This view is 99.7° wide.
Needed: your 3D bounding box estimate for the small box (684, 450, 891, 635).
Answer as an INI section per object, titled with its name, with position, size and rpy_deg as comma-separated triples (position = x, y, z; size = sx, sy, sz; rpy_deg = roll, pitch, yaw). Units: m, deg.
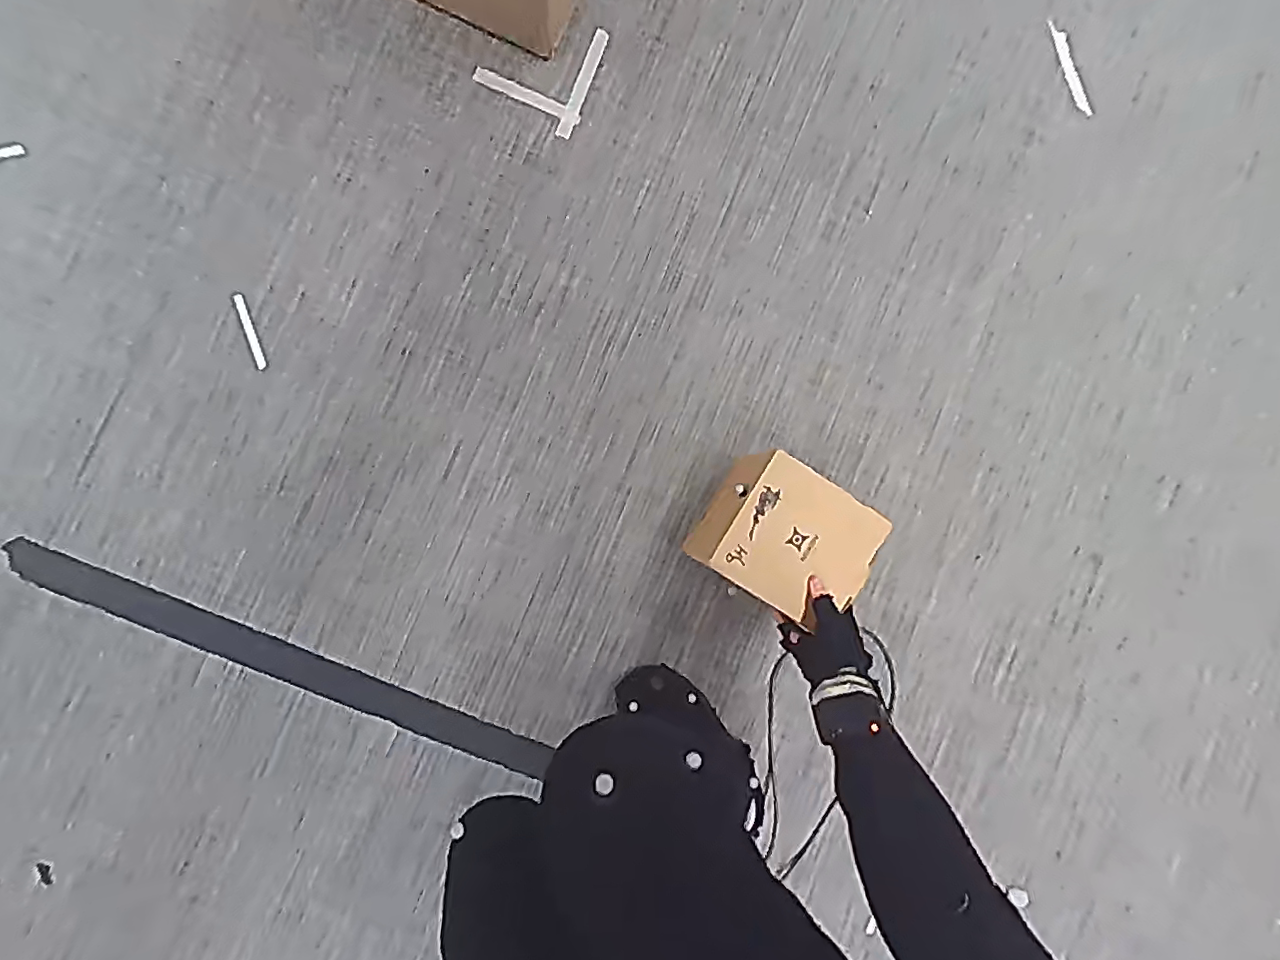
[small box]
position = 0.183, 0.074, 0.722
size = 0.179, 0.176, 0.168
rpy_deg = 32, 86, -5
